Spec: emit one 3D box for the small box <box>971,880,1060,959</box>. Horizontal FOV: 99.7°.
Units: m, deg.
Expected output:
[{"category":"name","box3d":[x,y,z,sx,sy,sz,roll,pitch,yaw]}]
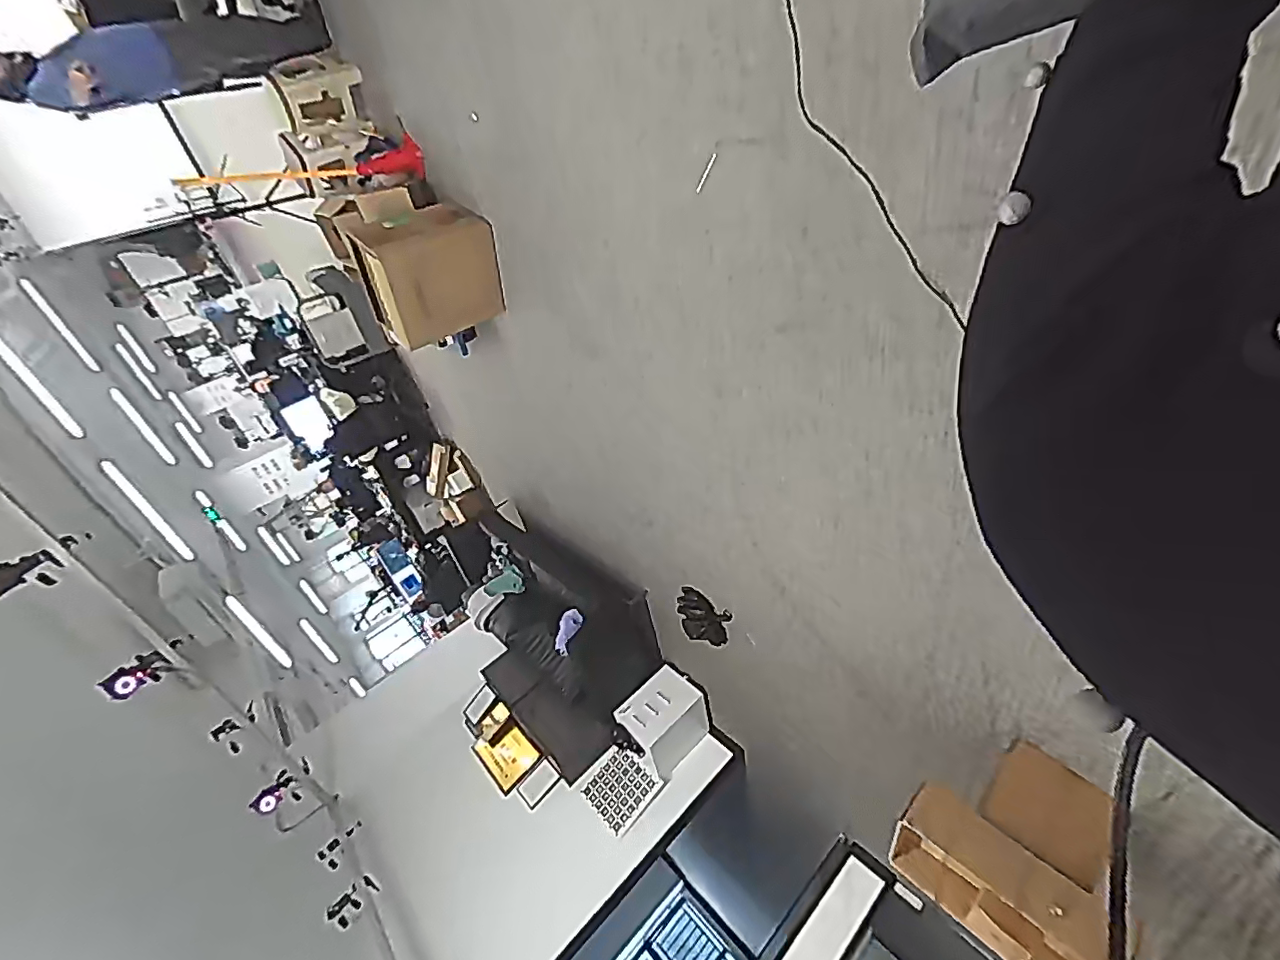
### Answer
[{"category":"small box","box3d":[1.193,1.424,1.718,0.168,0.176,0.179,32,146,42]}]
